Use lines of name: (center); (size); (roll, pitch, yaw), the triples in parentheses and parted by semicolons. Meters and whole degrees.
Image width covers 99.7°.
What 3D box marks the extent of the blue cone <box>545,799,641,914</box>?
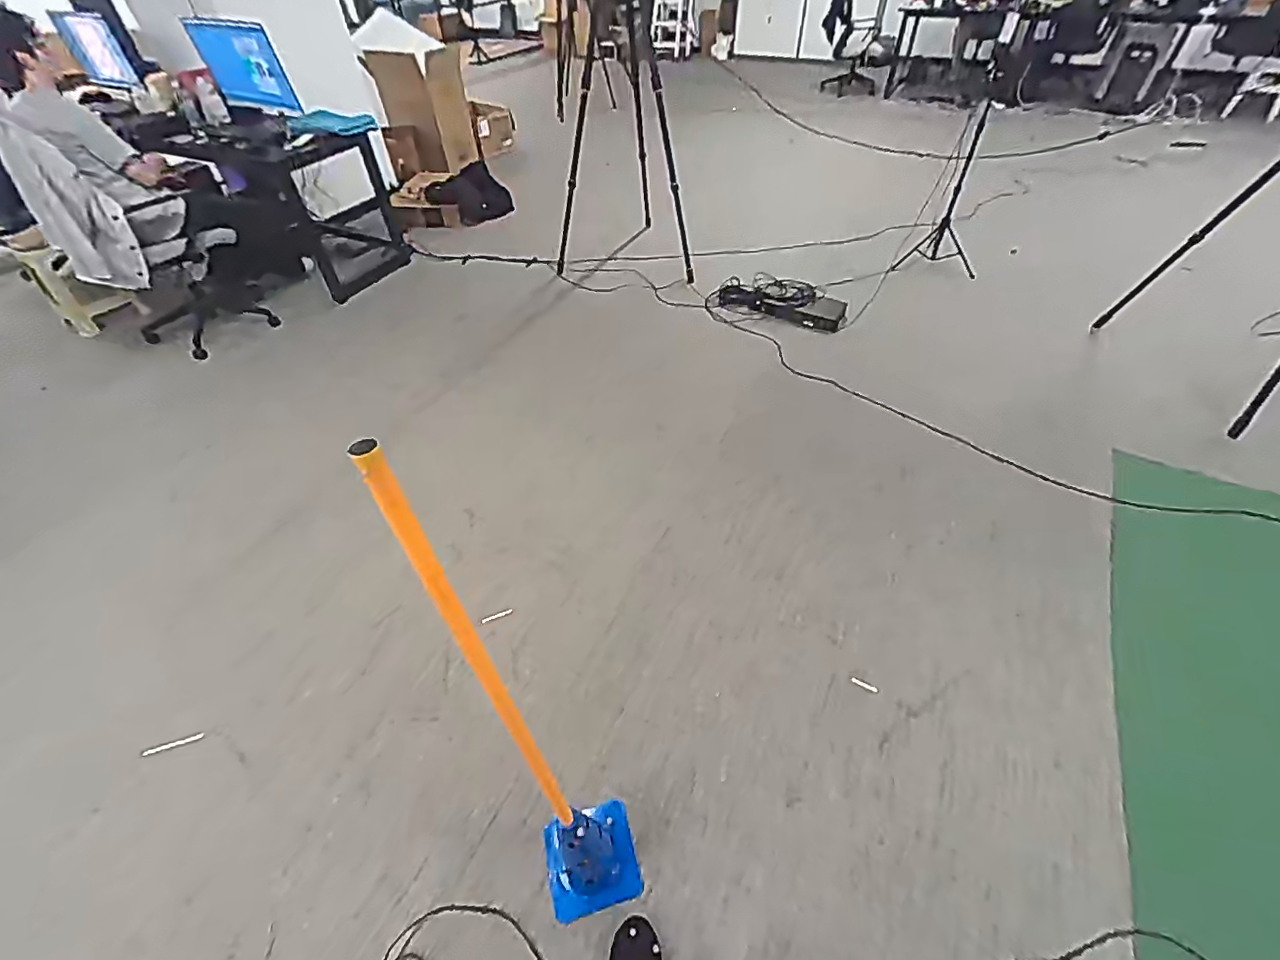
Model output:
blue cone: (-0.122, 0.735, 1.115); (0.192, 0.380, 0.193); (-15, 45, -10)
